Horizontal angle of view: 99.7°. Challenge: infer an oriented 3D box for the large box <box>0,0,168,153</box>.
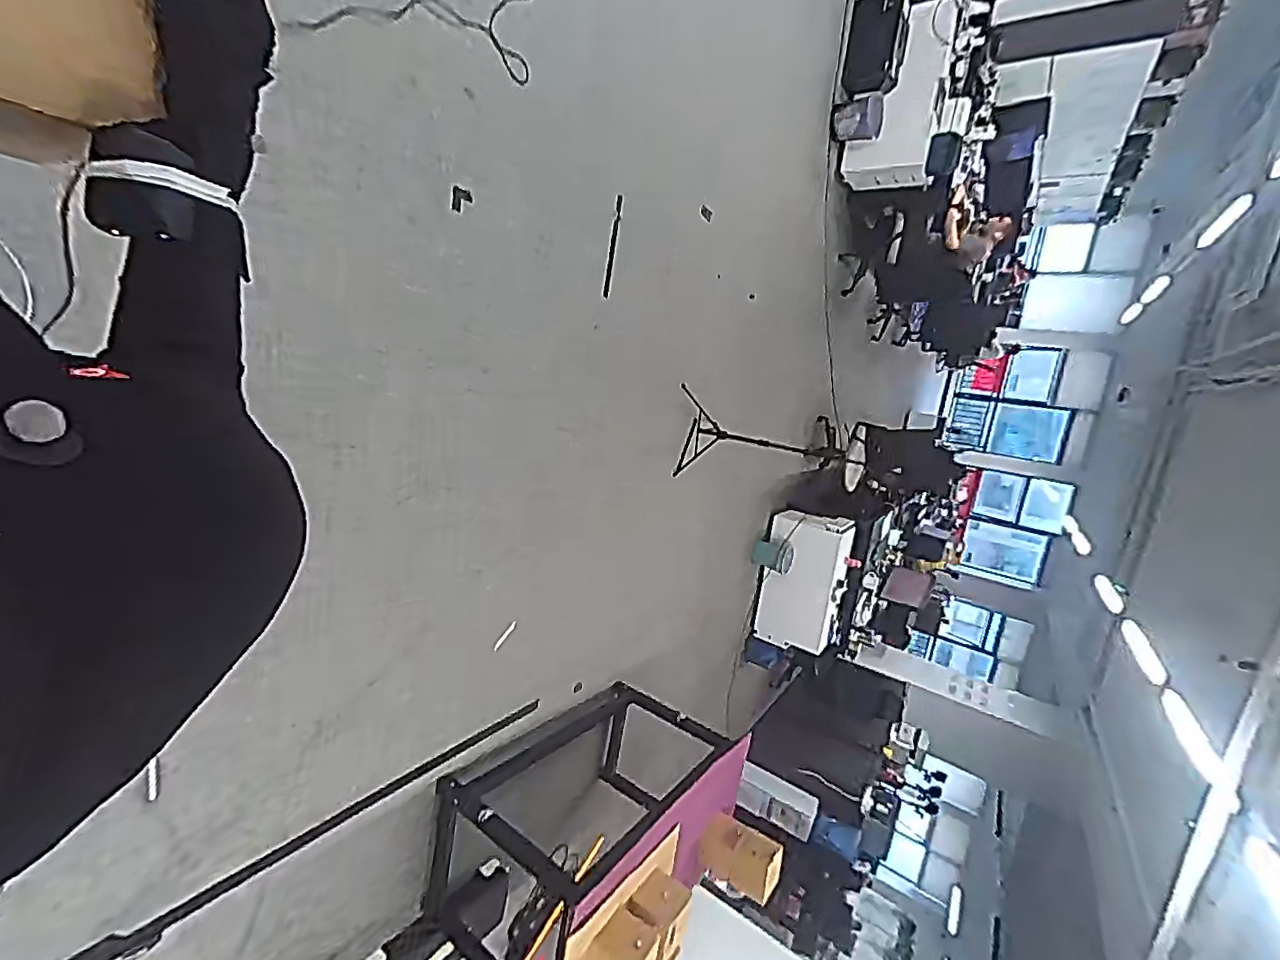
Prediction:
[{"bbox_3d":[-0.547,-0.414,0.270,0.408,0.320,0.320,-7,112,-59],"label":"large box"}]
